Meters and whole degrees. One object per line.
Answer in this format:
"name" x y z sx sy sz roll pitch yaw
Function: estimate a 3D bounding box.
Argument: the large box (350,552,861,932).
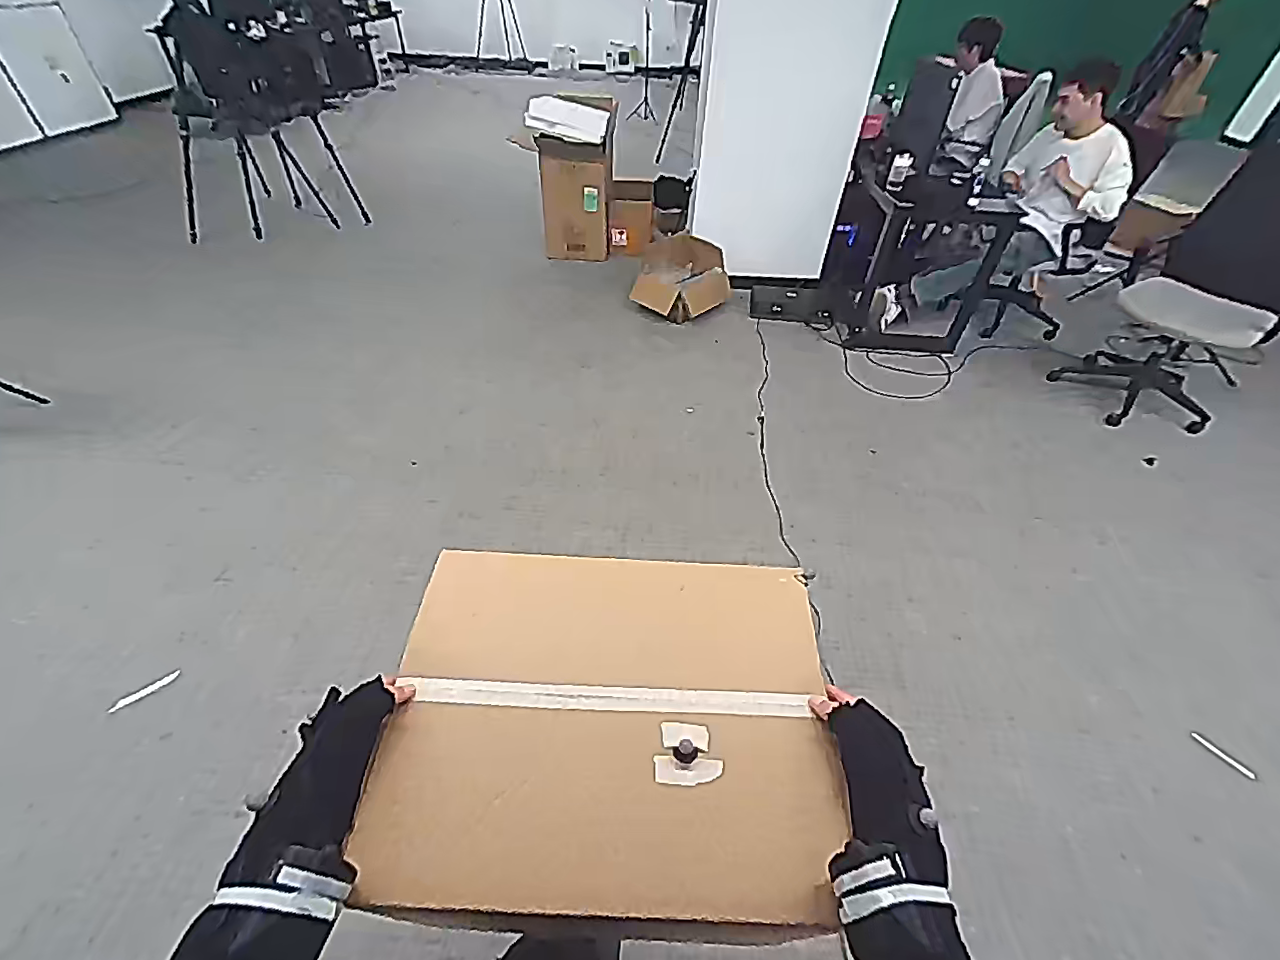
"large box" -0.030 0.304 0.621 0.408 0.320 0.320 4 48 -1
